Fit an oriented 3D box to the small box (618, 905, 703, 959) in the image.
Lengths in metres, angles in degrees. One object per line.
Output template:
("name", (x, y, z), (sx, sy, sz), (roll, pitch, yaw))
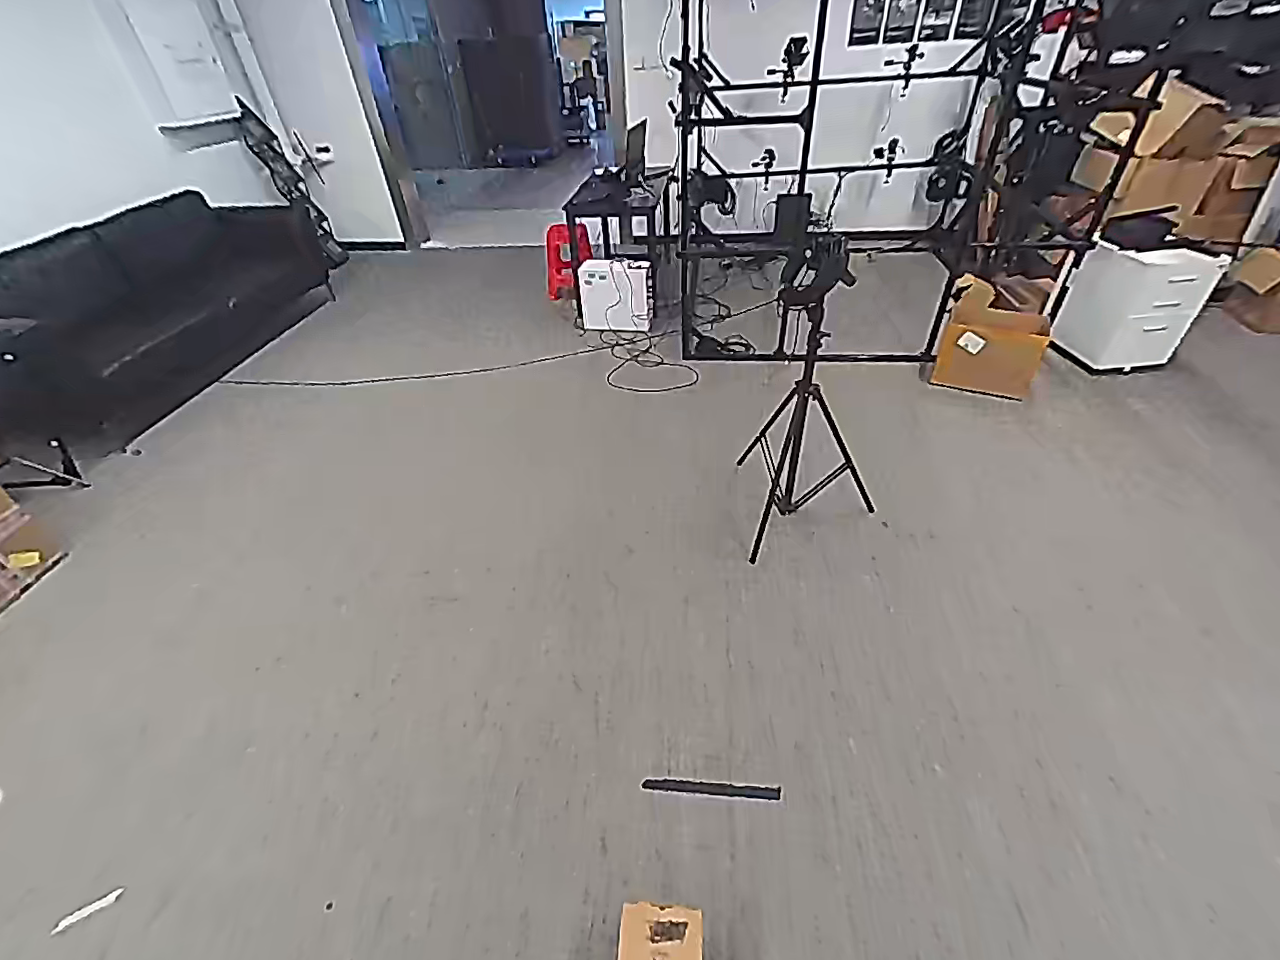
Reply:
("small box", (0.041, 0.996, 1.092), (0.168, 0.176, 0.179), (1, 40, 7))
